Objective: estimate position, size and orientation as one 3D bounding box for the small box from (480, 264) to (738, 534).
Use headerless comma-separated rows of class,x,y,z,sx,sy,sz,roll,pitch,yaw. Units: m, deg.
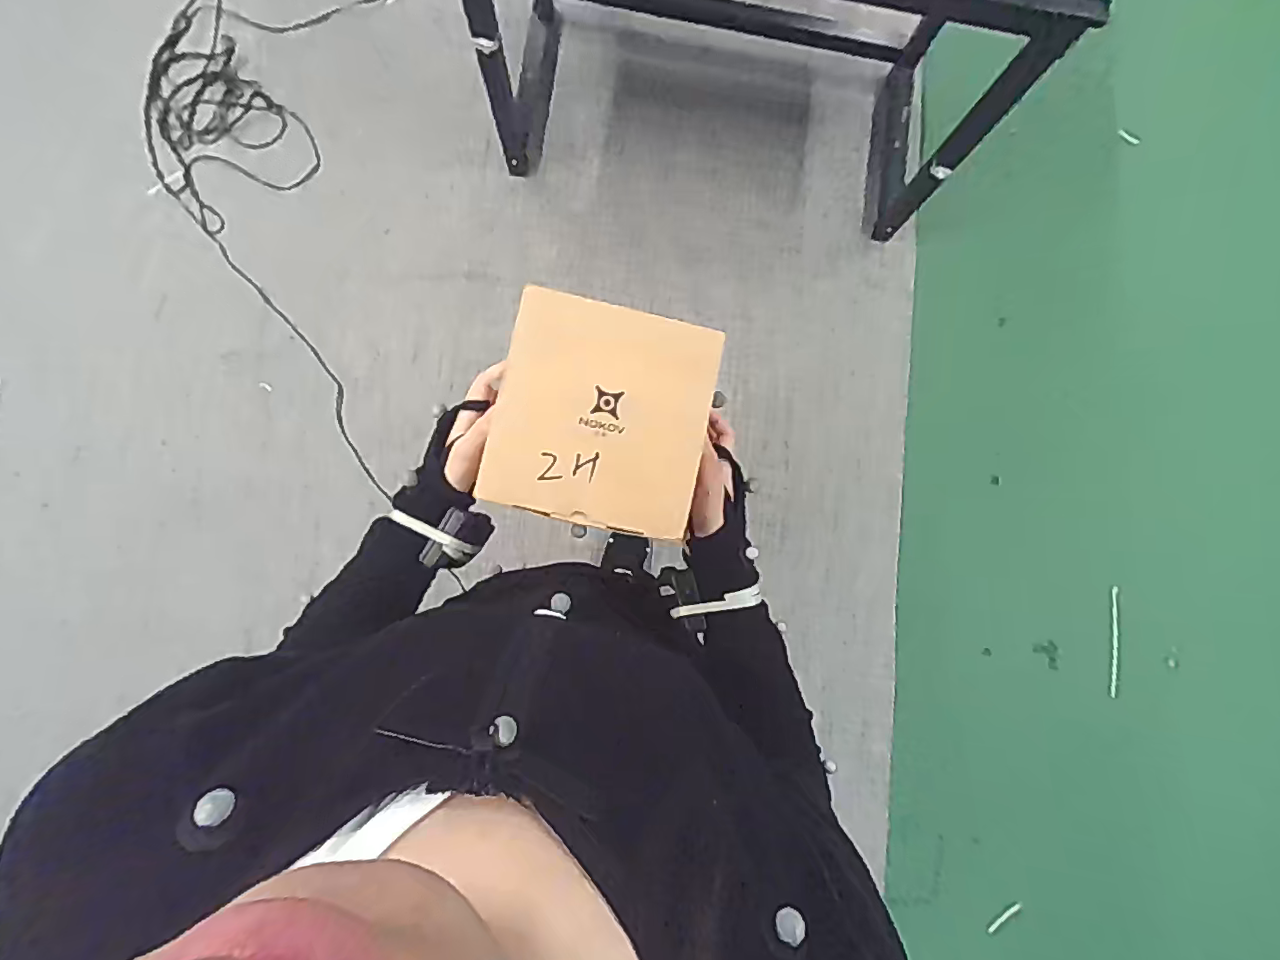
small box,-0.028,-0.056,0.485,0.168,0.176,0.179,13,85,-4
